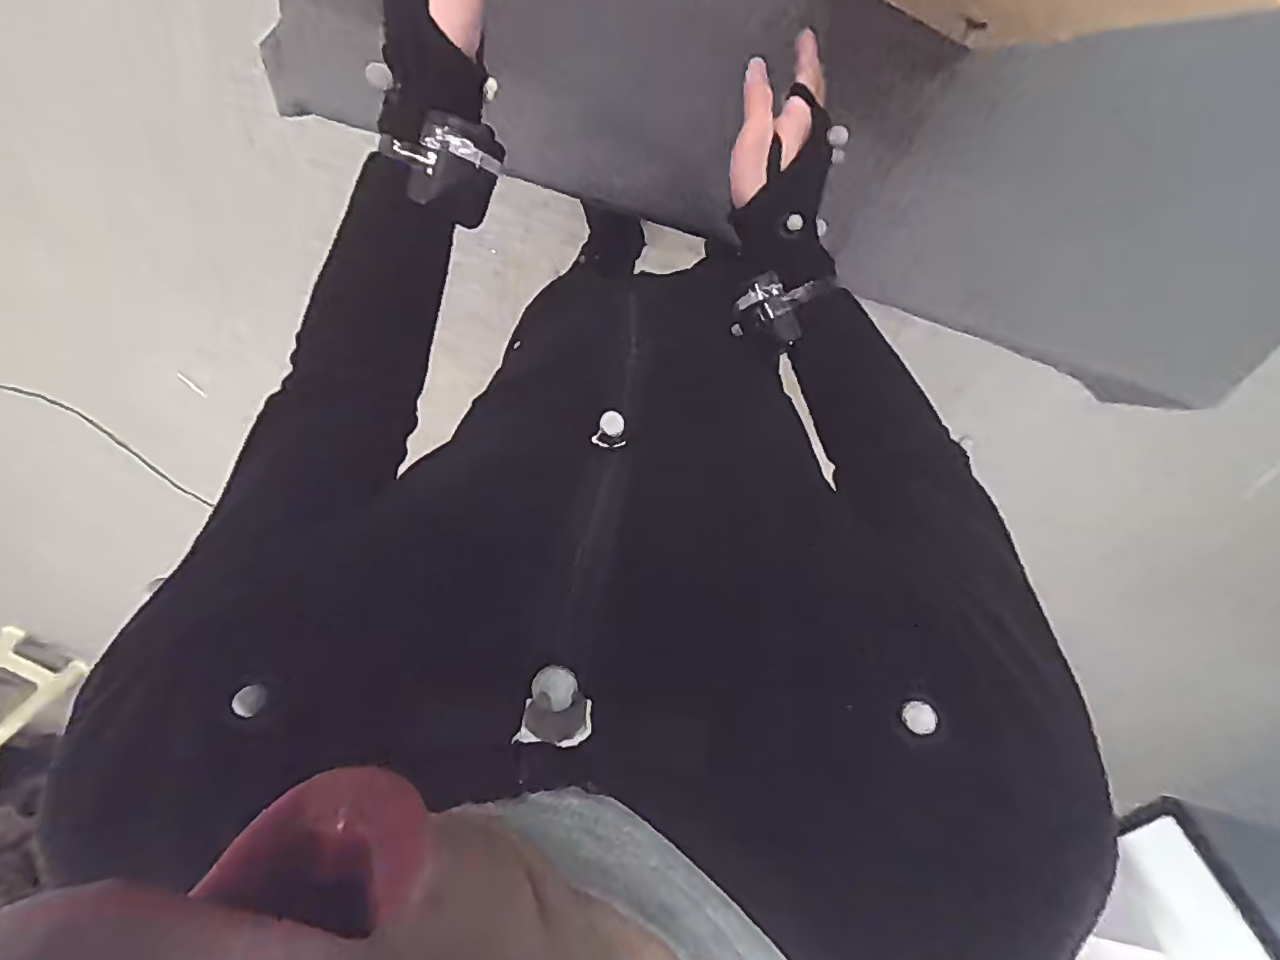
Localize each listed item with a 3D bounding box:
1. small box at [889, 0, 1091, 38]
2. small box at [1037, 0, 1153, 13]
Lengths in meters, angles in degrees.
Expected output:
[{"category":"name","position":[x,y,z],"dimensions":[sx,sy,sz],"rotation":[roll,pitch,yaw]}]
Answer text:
[{"category":"small box","position":[0.269,-0.460,0.398],"dimensions":[0.179,0.176,0.168],"rotation":[19,124,-10]},{"category":"small box","position":[0.263,-0.366,0.263],"dimensions":[0.179,0.176,0.168],"rotation":[17,125,-12]}]
